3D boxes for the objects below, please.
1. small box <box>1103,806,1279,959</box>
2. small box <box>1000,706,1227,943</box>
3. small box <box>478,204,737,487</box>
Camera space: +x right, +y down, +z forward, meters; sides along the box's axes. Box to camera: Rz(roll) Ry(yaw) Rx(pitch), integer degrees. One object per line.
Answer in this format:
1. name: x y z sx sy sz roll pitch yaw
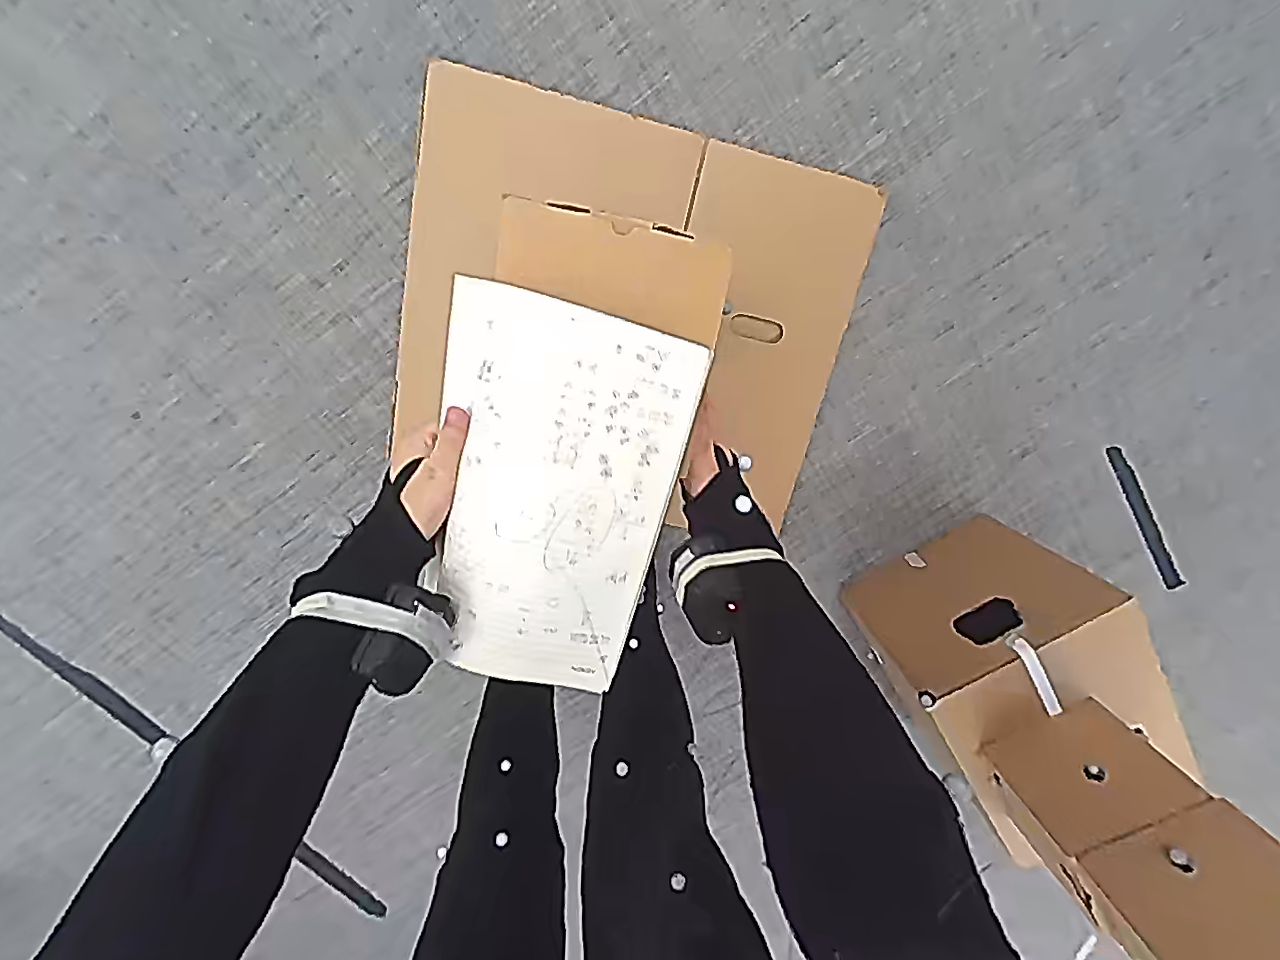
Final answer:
1. small box: 0.633 0.488 0.557 0.179 0.176 0.168 -32 107 9
2. small box: 0.618 0.443 0.714 0.179 0.176 0.168 -29 107 6
3. small box: -0.031 -0.105 0.465 0.168 0.176 0.179 8 99 -7
